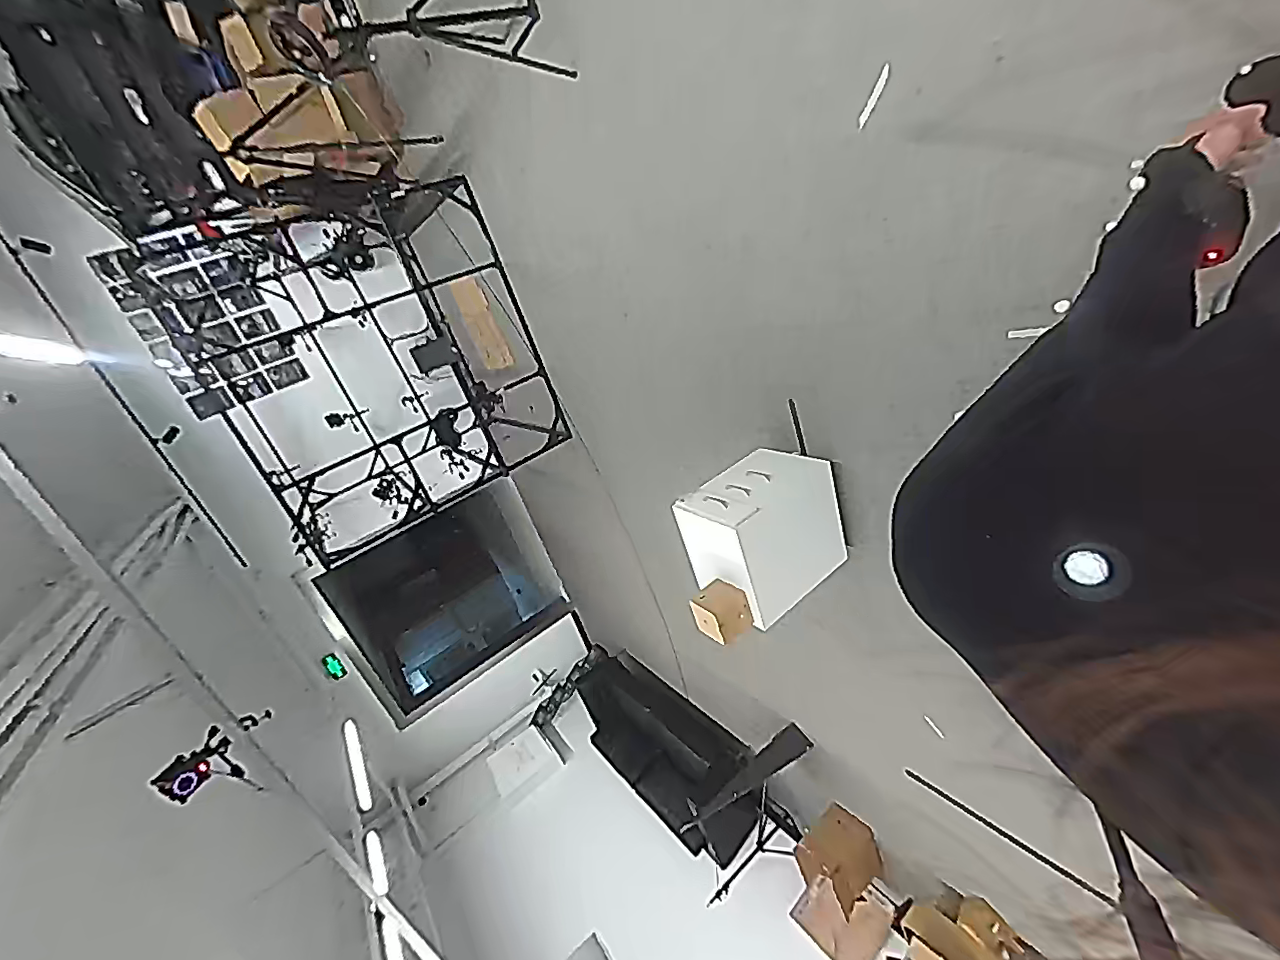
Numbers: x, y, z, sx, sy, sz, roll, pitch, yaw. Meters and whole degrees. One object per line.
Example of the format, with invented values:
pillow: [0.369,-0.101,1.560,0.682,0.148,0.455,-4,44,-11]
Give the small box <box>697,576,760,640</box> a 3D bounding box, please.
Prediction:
small box: [0.369,0.522,2.243,0.179,0.176,0.168,19,135,56]
